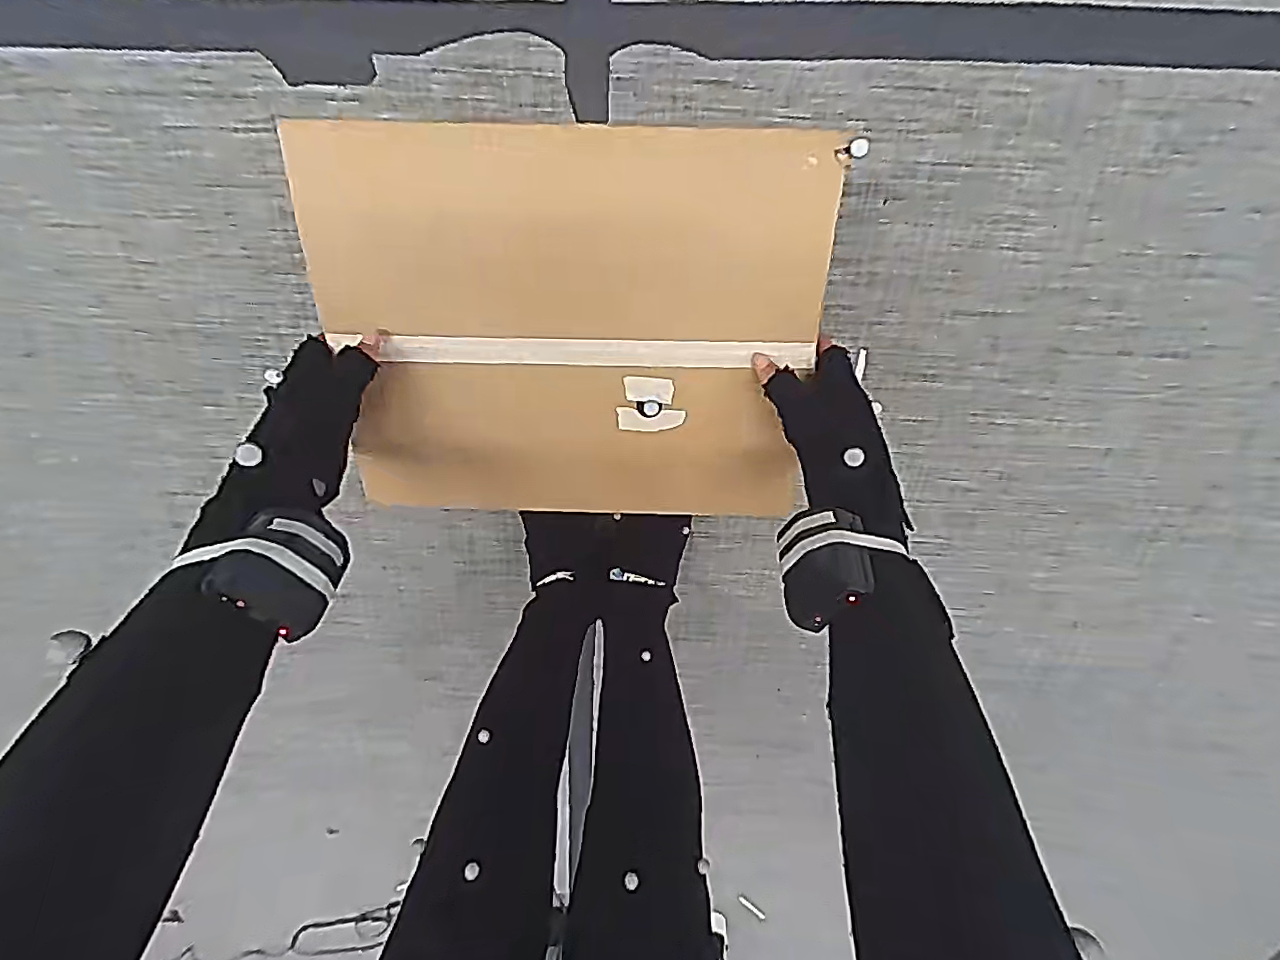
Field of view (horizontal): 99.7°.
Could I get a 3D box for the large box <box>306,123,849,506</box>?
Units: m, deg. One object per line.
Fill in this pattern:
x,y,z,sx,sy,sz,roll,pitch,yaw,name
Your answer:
-0.048,-0.179,0.589,0.408,0.320,0.320,1,117,0,large box
